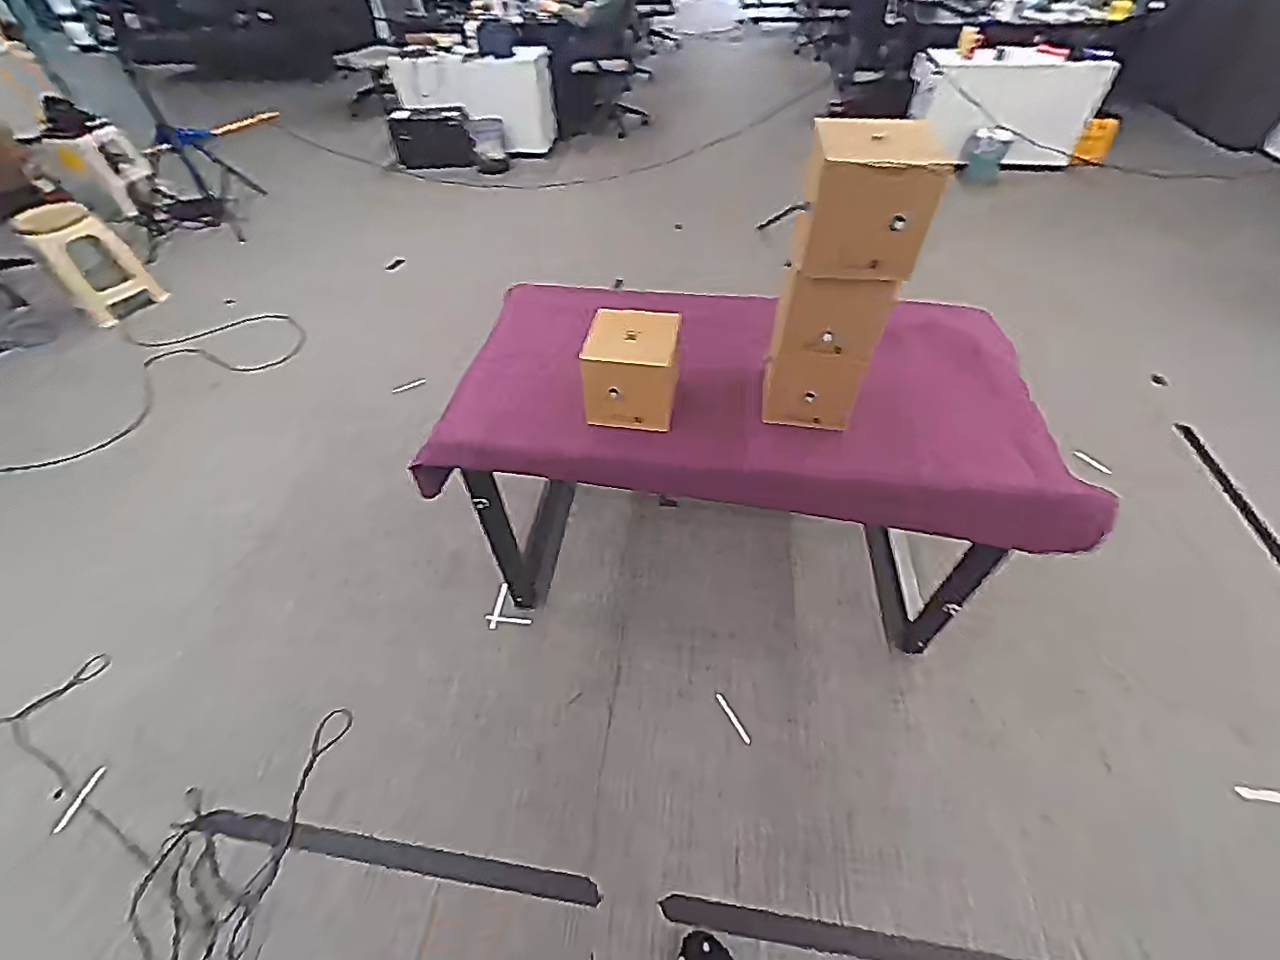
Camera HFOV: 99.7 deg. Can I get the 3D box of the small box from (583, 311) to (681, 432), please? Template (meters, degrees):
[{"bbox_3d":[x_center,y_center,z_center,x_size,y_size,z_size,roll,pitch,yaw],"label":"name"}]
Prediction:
[{"bbox_3d":[-0.009,-0.217,1.089,0.168,0.176,0.179,6,48,7],"label":"small box"}]

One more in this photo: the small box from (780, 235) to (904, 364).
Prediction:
[{"bbox_3d":[0.347,-0.331,0.959,0.168,0.176,0.179,7,50,8],"label":"small box"}]

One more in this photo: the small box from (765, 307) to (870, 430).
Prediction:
[{"bbox_3d":[0.347,-0.220,1.081,0.168,0.176,0.179,8,49,8],"label":"small box"}]

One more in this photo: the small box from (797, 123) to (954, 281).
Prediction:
[{"bbox_3d":[0.342,-0.421,0.822,0.168,0.176,0.179,5,49,5],"label":"small box"}]
